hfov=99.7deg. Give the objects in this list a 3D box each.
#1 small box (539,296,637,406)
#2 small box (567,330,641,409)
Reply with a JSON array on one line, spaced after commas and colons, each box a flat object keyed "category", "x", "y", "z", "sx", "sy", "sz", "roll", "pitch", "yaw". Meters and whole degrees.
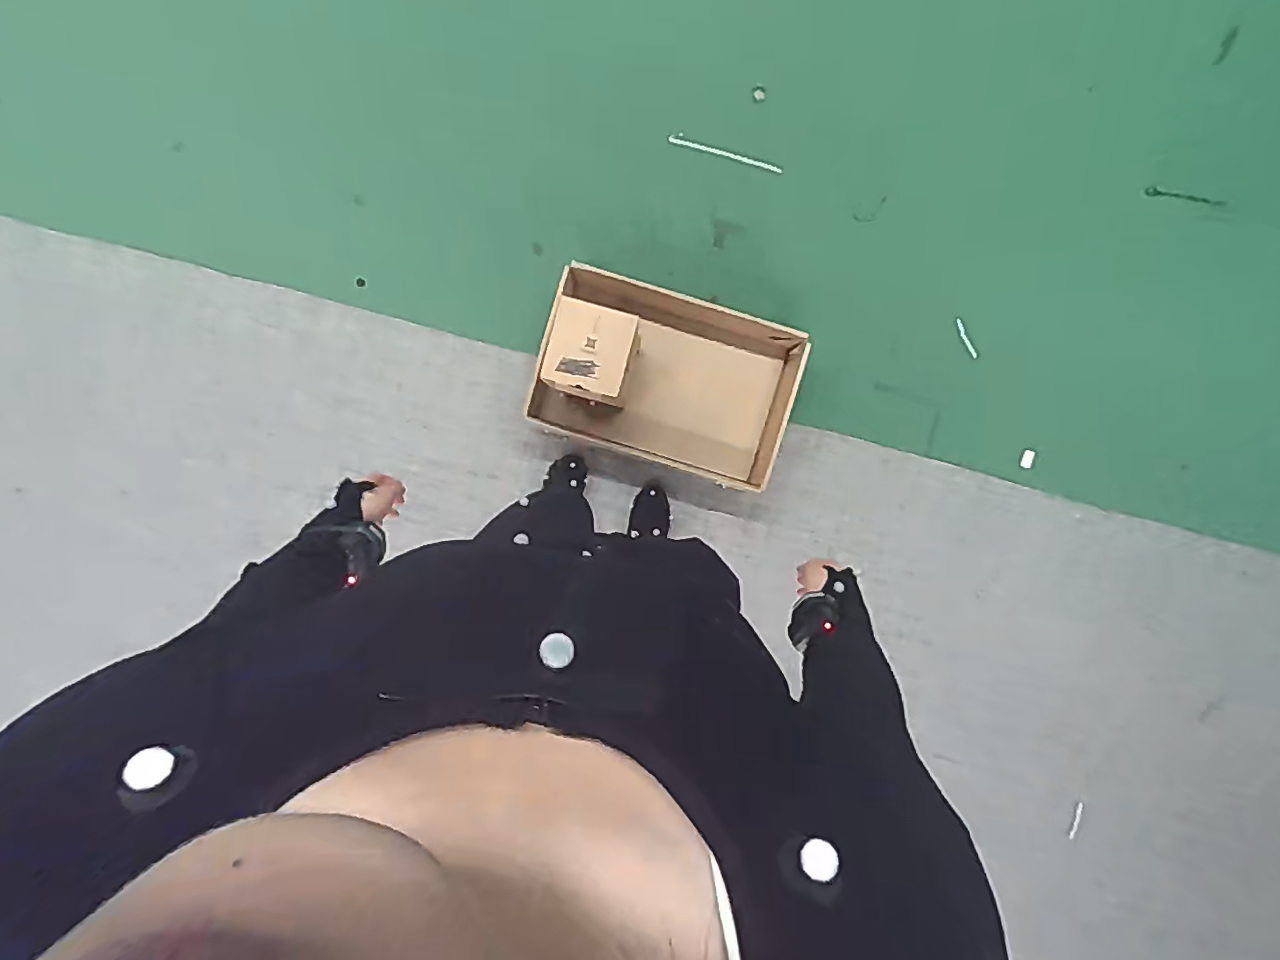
[{"category": "small box", "x": -0.106, "y": -0.267, "z": 1.165, "sx": 0.168, "sy": 0.176, "sz": 0.179, "roll": 16, "pitch": 92, "yaw": -2}, {"category": "small box", "x": -0.100, "y": -0.284, "z": 1.328, "sx": 0.168, "sy": 0.176, "sz": 0.179, "roll": 14, "pitch": 92, "yaw": -1}]
